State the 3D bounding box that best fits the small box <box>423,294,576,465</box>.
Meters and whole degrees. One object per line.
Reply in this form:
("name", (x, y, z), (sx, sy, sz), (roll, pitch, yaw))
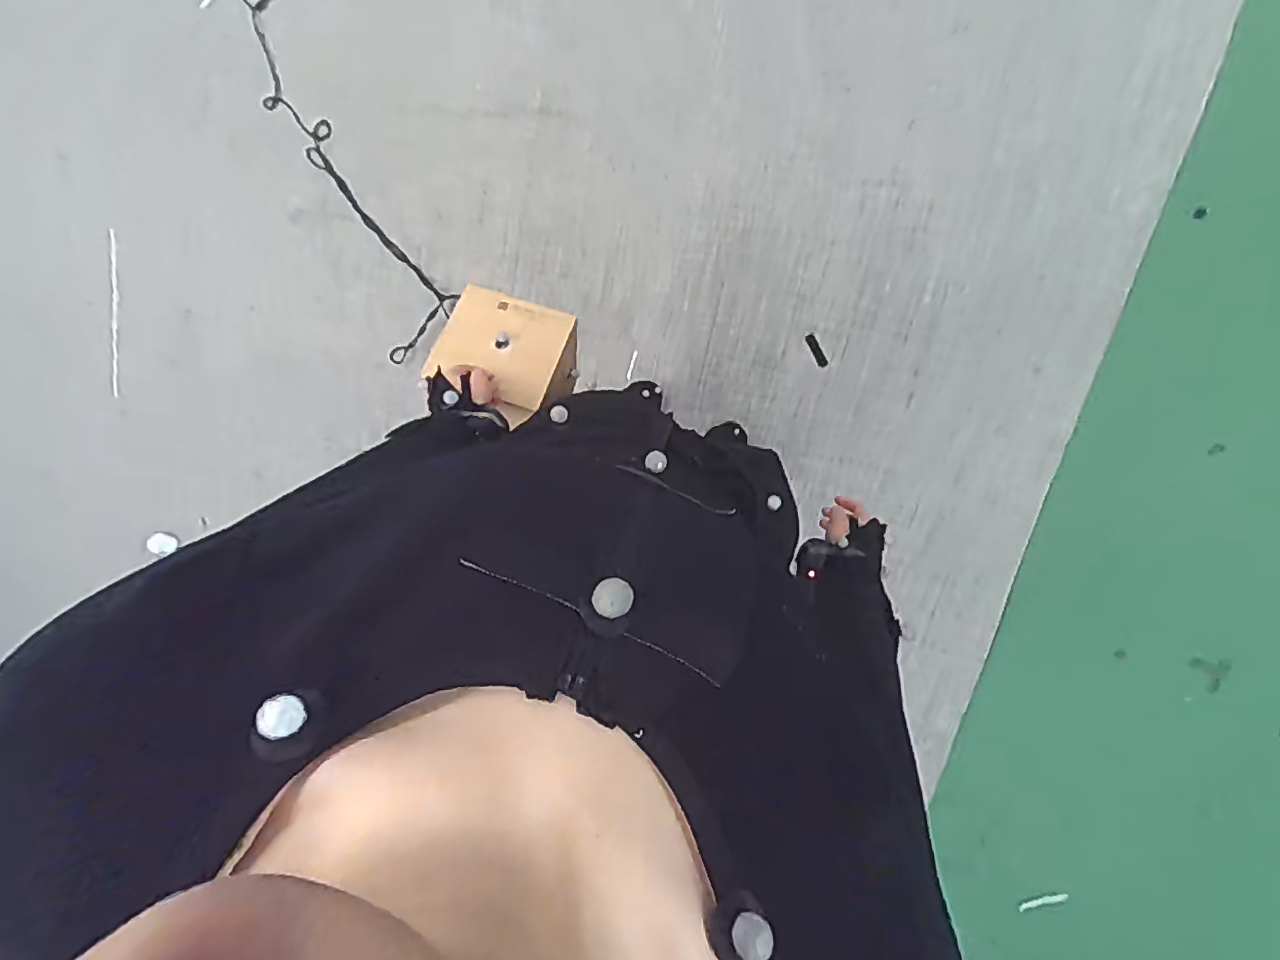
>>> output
("small box", (-0.199, -0.149, 0.819), (0.168, 0.179, 0.176), (15, 68, 1))
